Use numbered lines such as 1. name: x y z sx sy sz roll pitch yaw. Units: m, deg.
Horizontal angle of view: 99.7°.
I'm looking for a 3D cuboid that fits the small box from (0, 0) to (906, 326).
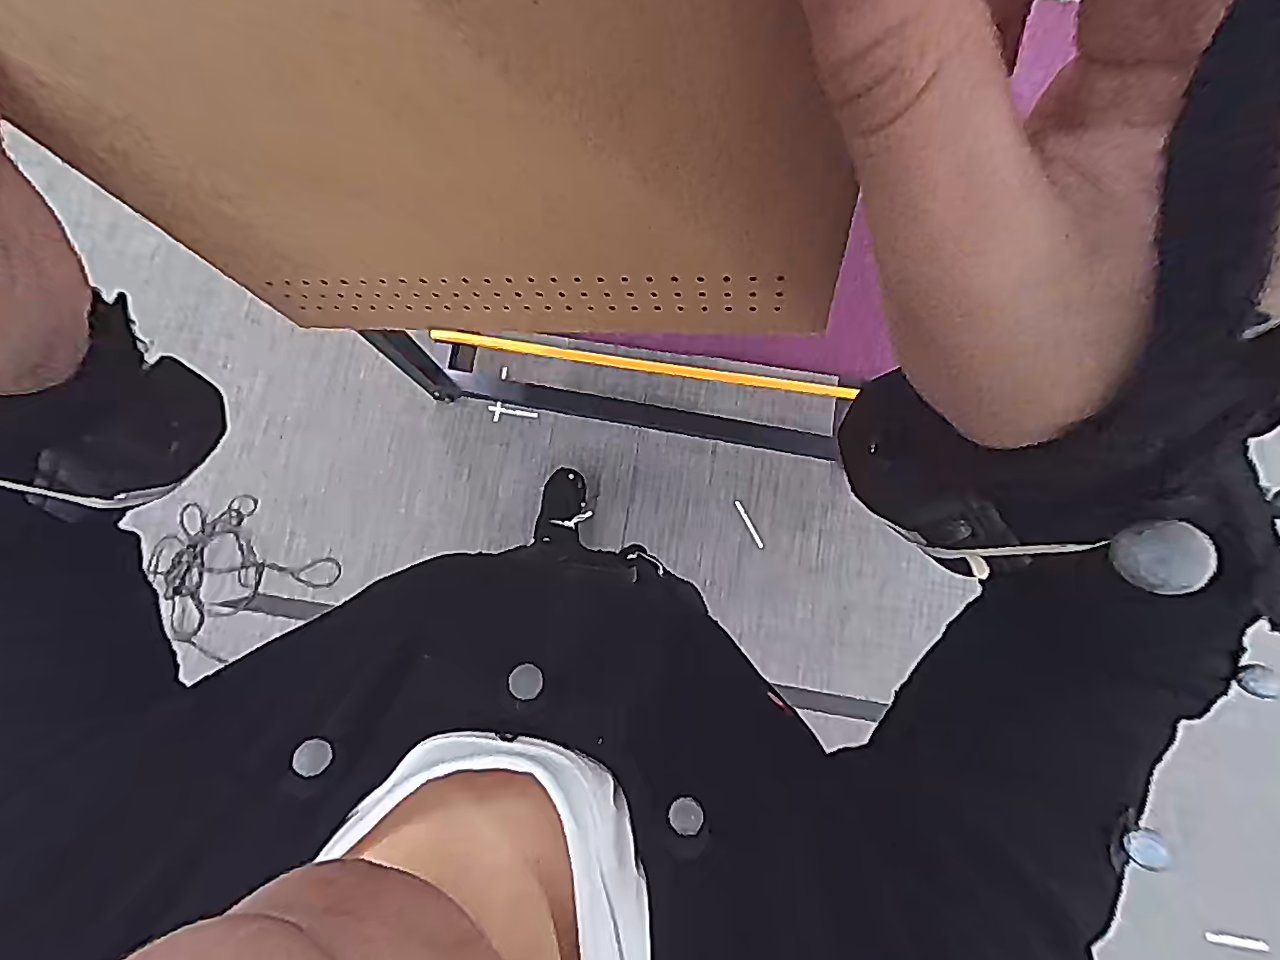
1. small box: -0.035 -0.147 0.110 0.179 0.176 0.168 4 74 12
